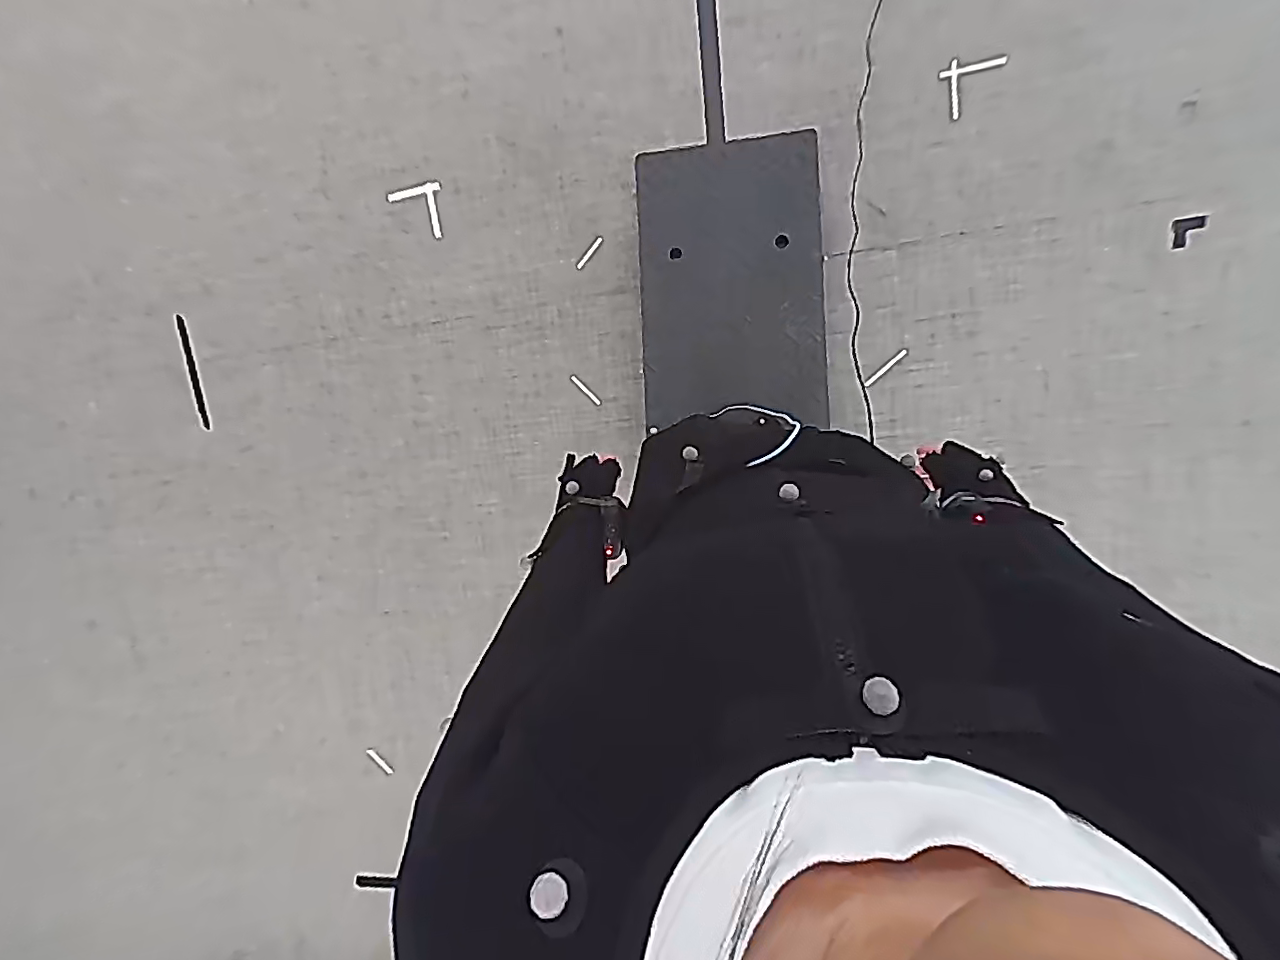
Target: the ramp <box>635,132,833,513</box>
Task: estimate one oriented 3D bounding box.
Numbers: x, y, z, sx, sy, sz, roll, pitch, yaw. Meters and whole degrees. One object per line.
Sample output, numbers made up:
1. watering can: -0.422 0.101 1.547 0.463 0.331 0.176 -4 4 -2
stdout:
1. ramp: 0.243 -0.414 1.465 0.509 0.206 0.991 -4 98 11
